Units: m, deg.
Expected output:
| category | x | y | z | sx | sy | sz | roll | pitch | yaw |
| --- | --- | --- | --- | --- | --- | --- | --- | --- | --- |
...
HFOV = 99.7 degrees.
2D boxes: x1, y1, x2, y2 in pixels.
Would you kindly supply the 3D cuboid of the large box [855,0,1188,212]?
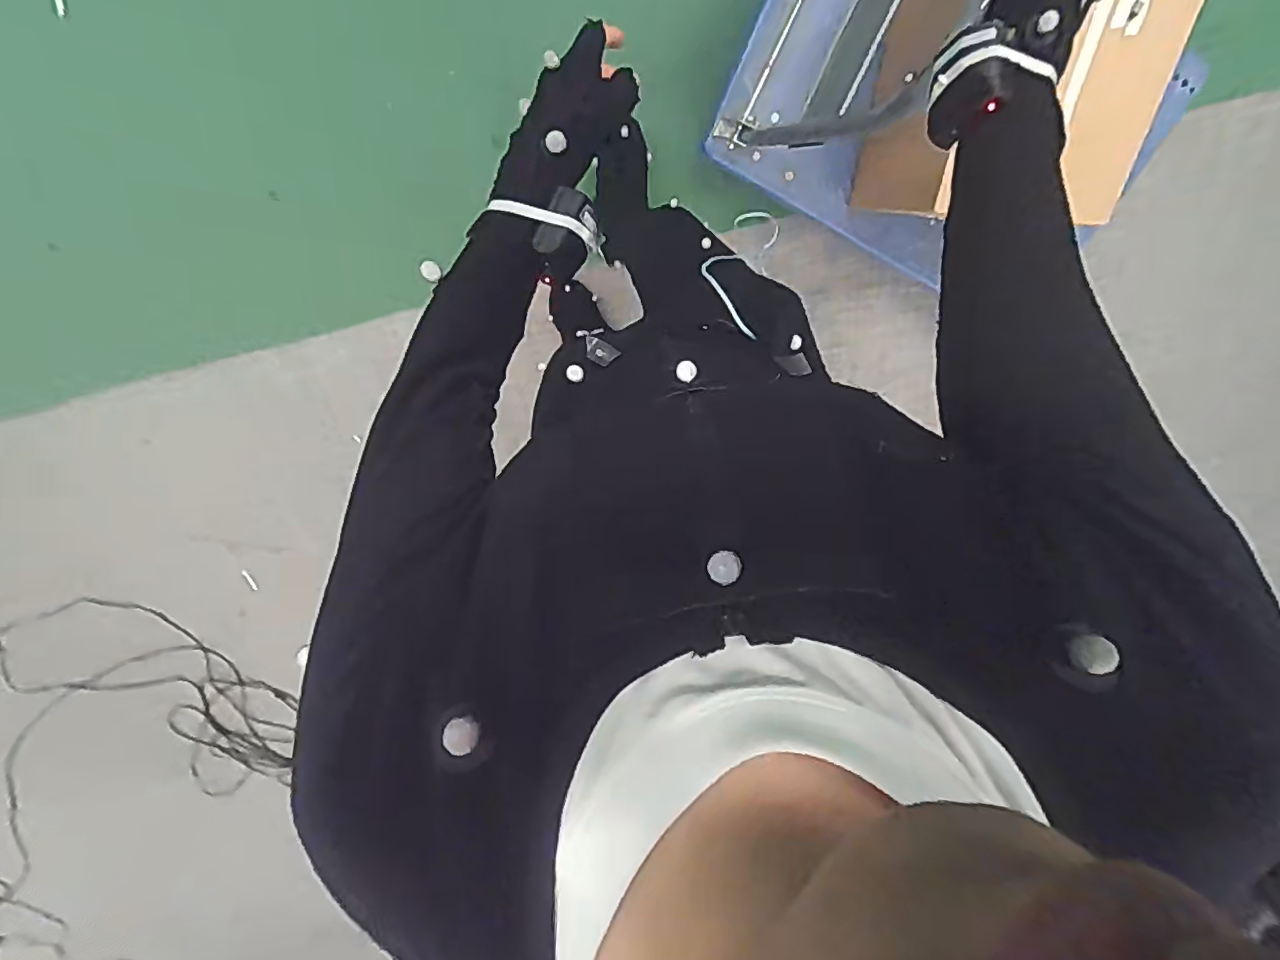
| category | x | y | z | sx | sy | sz | roll | pitch | yaw |
| --- | --- | --- | --- | --- | --- | --- | --- | --- | --- |
| large box | 0.611 | -0.683 | 0.917 | 0.320 | 0.320 | 0.408 | 1 | 117 | -6 |
